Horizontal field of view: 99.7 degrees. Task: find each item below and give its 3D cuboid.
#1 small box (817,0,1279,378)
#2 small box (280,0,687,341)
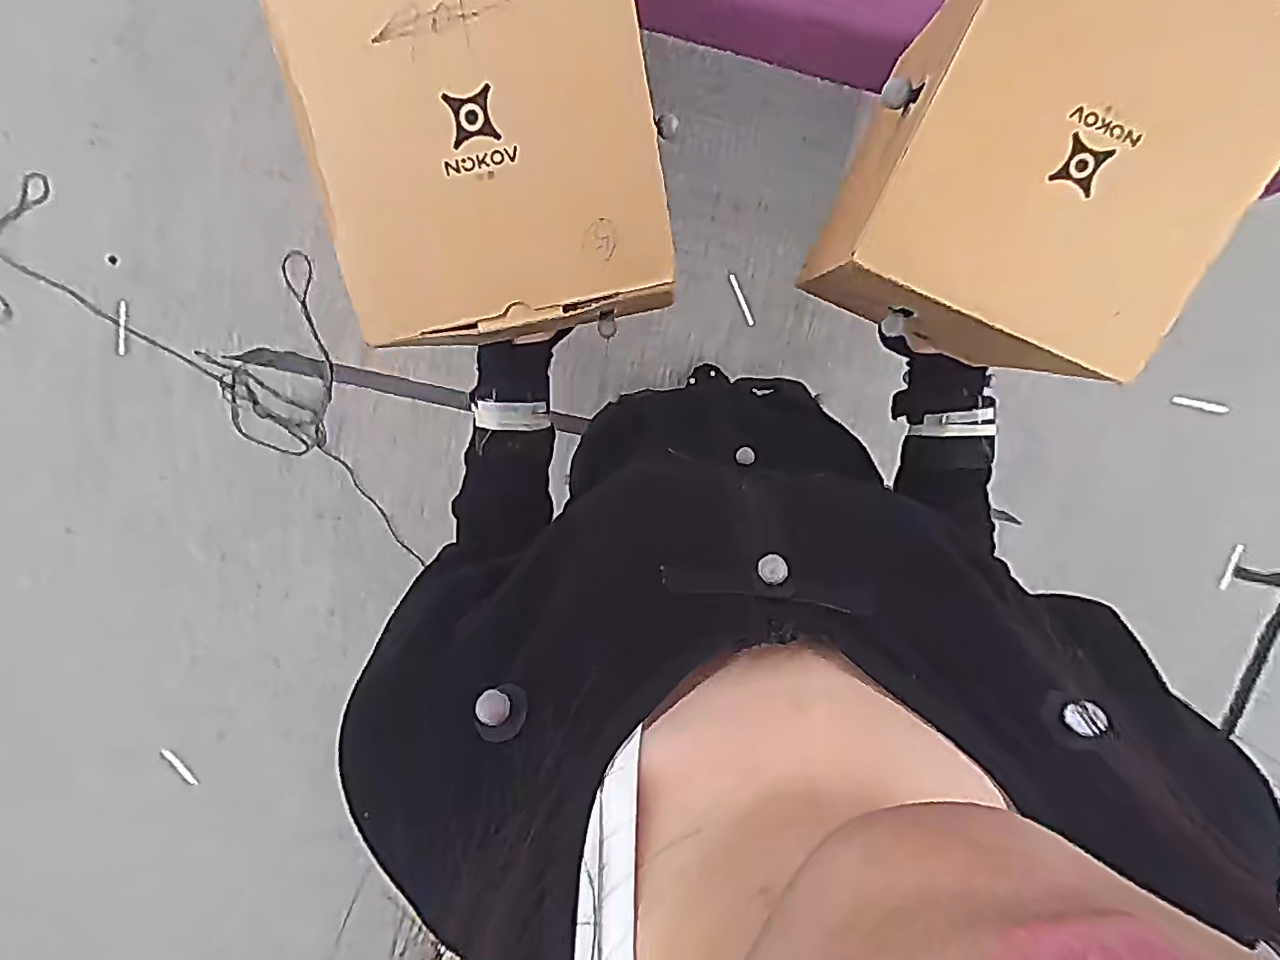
[{"bbox_3d":[0.231,-0.181,0.342,0.168,0.176,0.179,24,105,-1],"label":"small box"},{"bbox_3d":[-0.066,-0.187,0.328,0.168,0.176,0.179,-10,103,4],"label":"small box"}]
